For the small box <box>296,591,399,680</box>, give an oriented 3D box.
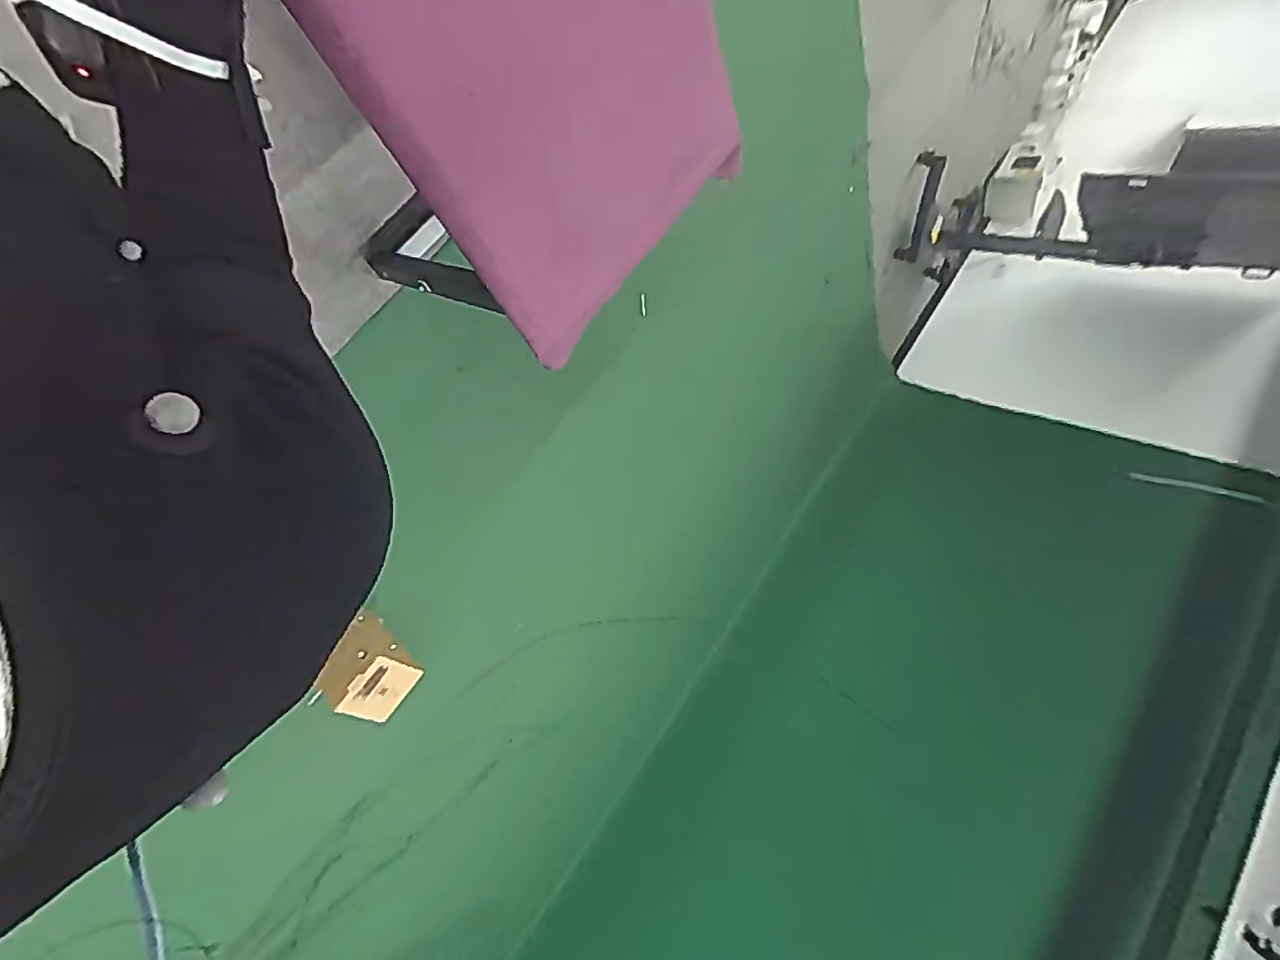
[{"bbox_3d":[-0.861,0.453,1.591,0.168,0.176,0.179,-53,141,-14],"label":"small box"}]
